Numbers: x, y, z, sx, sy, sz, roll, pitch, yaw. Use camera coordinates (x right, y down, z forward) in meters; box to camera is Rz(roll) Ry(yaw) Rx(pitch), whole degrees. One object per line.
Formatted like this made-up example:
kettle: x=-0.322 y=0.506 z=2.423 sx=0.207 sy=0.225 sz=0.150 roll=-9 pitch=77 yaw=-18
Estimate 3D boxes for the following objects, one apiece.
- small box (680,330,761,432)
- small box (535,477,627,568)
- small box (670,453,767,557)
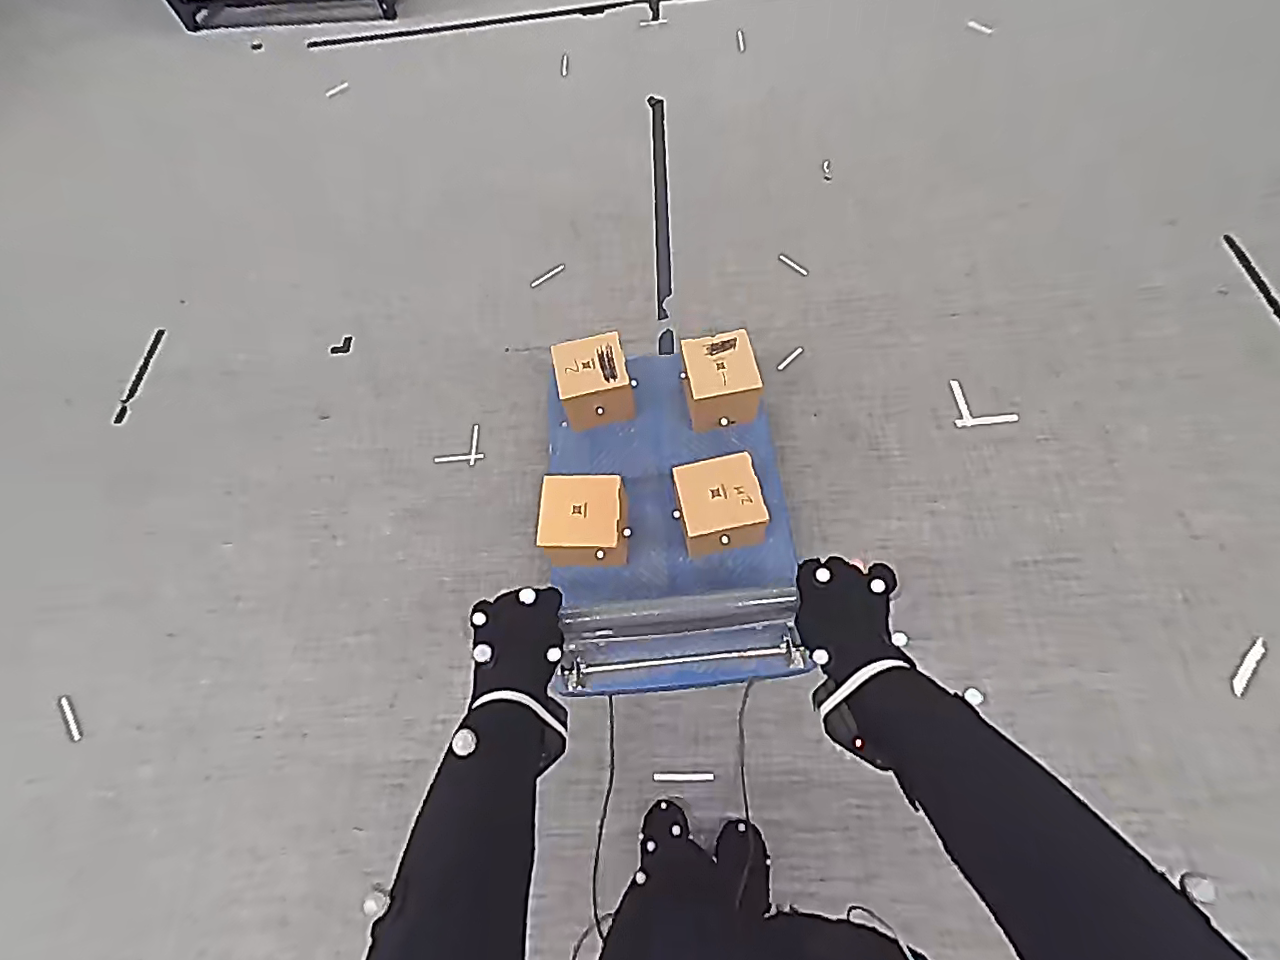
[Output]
small box: x=0.194 y=-0.245 z=1.359 sx=0.168 sy=0.176 sz=0.179 roll=-11 pitch=66 yaw=1
small box: x=-0.128 y=0.101 z=1.237 sx=0.179 sy=0.176 sz=0.168 roll=-1 pitch=65 yaw=4
small box: x=0.174 y=0.063 z=1.222 sx=0.179 sy=0.176 sz=0.168 roll=-12 pitch=65 yaw=0
